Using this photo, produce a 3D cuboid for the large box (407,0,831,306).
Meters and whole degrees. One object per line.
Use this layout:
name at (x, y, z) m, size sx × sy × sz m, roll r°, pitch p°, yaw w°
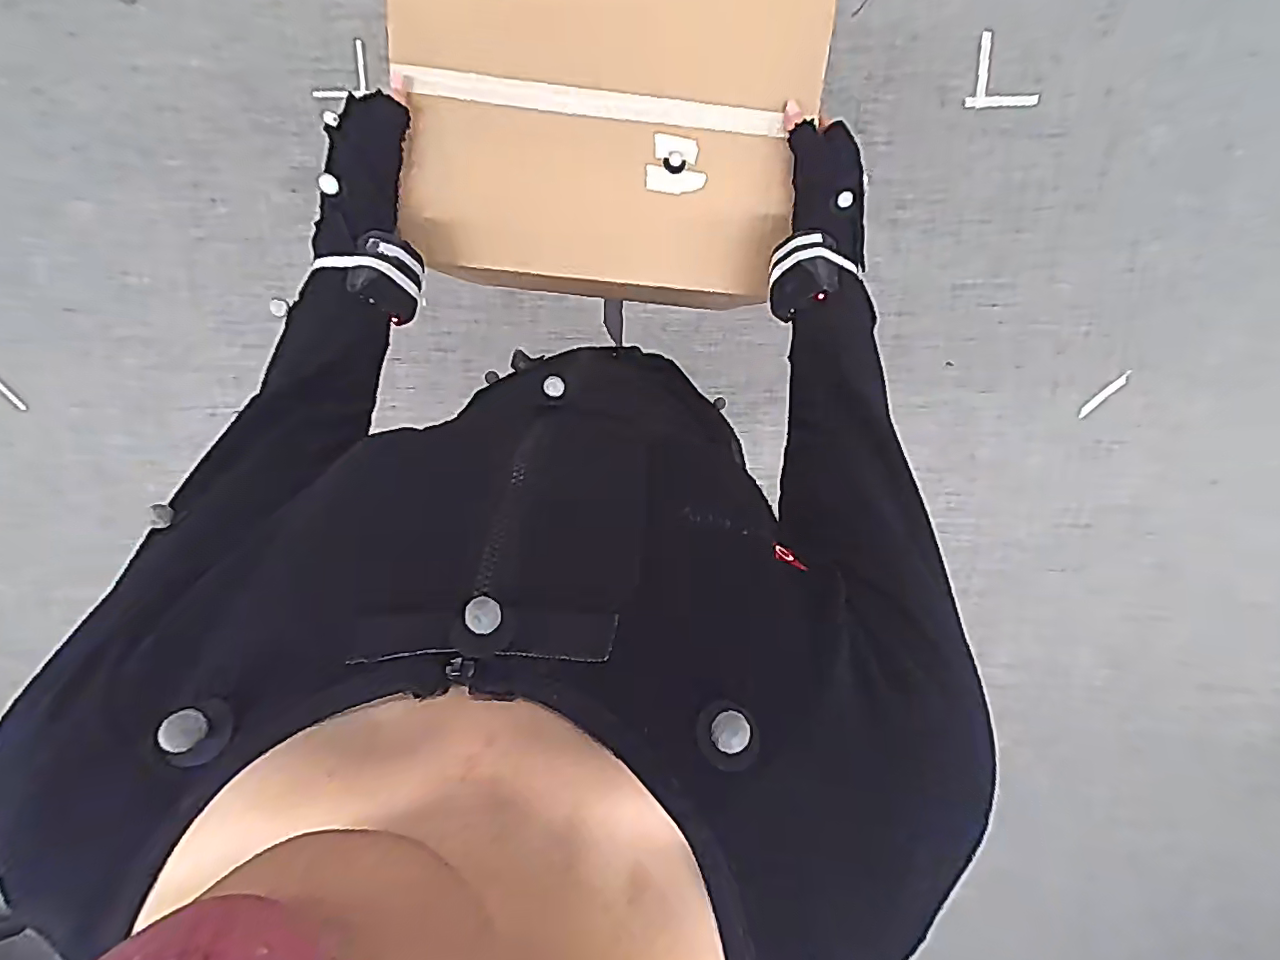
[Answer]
large box at (-0.034, -0.401, 0.674) m, size 0.408 × 0.320 × 0.320 m, roll 4°, pitch 105°, yaw -5°
